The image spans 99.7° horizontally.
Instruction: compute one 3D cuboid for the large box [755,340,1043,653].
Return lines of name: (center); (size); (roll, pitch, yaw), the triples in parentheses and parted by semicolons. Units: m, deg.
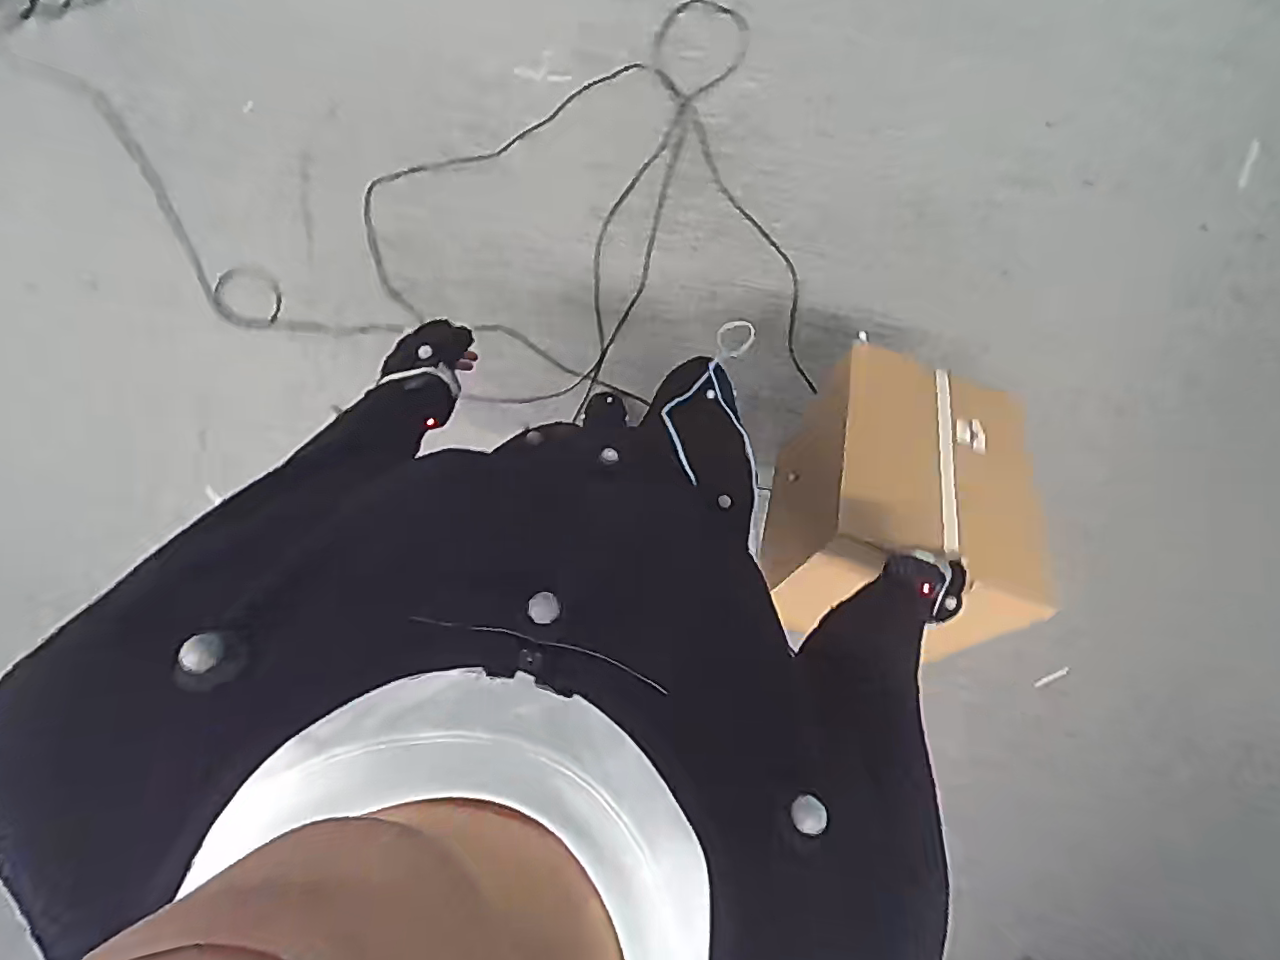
large box: (0.424, 0.036, 0.961); (0.320, 0.320, 0.408); (21, 55, -1)
